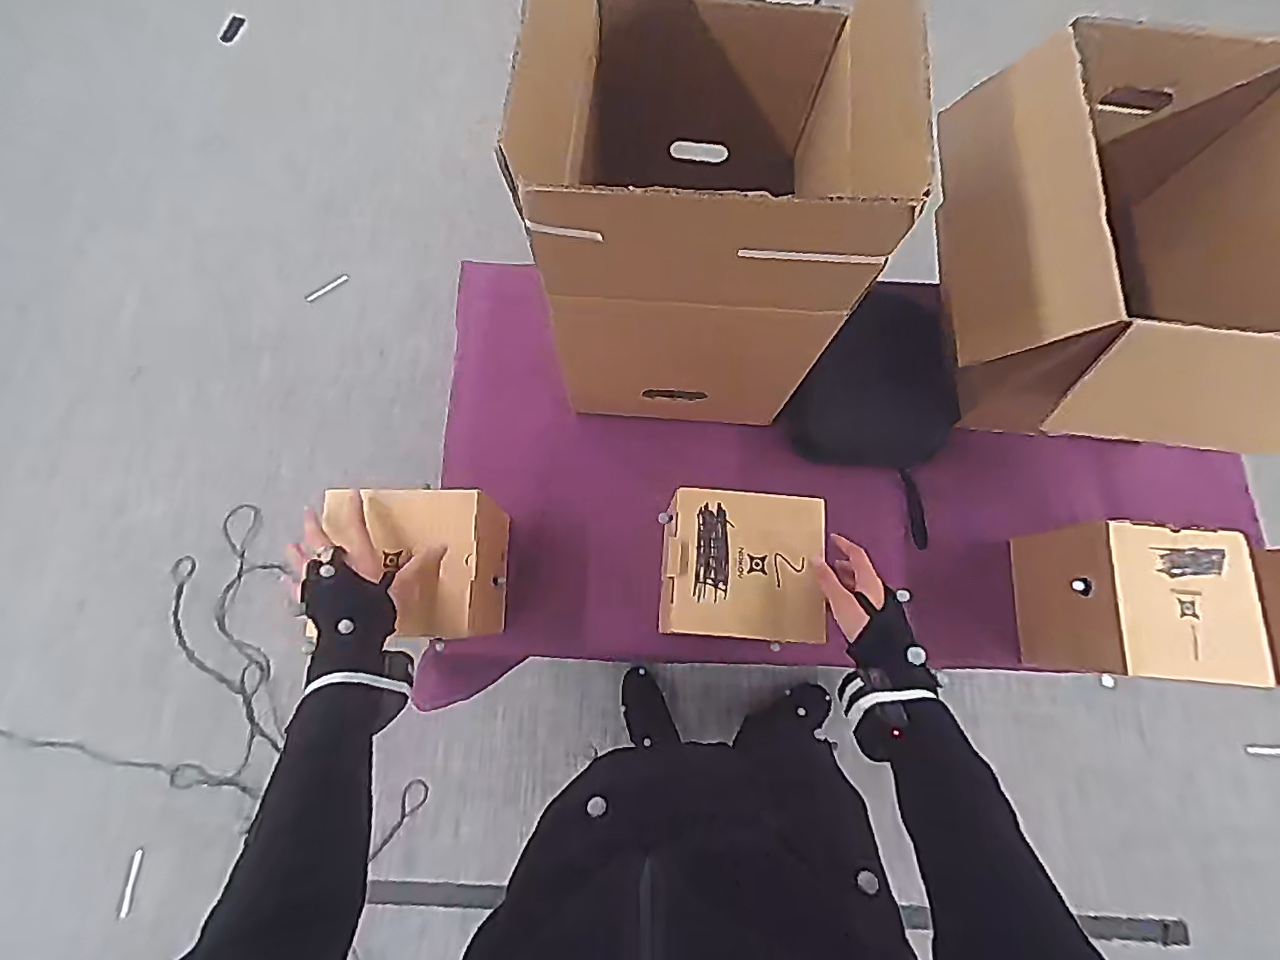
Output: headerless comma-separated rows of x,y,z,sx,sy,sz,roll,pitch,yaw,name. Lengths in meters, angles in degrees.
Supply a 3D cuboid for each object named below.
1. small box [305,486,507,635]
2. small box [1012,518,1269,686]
-0.275,0.108,0.677,0.179,0.176,0.168,0,75,-3,small box
0.612,0.155,0.690,0.168,0.176,0.179,5,76,0,small box
